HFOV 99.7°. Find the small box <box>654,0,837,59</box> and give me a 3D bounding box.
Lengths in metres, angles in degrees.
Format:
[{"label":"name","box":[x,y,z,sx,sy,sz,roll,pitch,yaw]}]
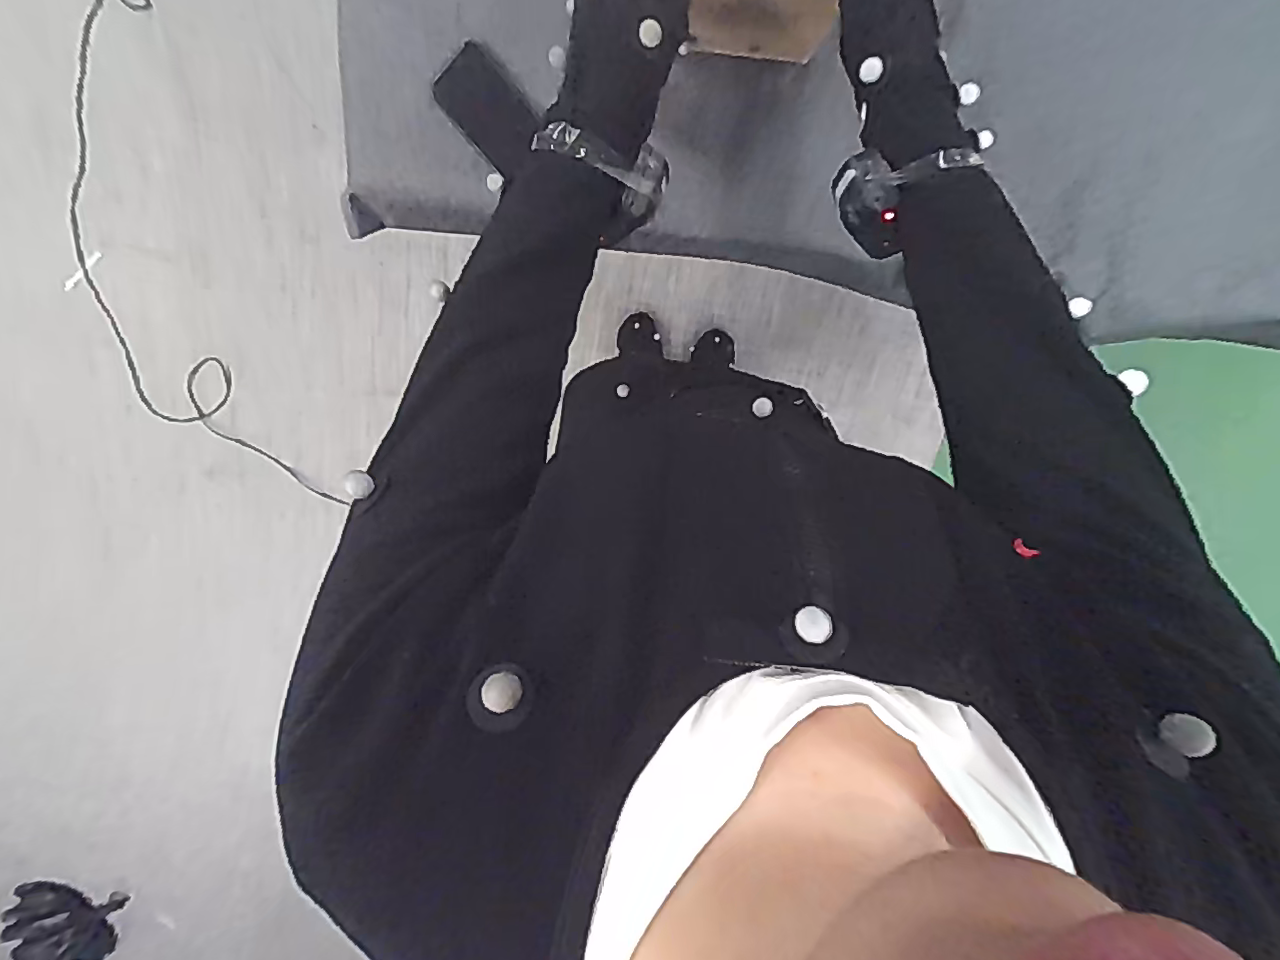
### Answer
[{"label":"small box","box":[0.102,-0.505,0.470,0.168,0.176,0.179,5,108,-2]}]
